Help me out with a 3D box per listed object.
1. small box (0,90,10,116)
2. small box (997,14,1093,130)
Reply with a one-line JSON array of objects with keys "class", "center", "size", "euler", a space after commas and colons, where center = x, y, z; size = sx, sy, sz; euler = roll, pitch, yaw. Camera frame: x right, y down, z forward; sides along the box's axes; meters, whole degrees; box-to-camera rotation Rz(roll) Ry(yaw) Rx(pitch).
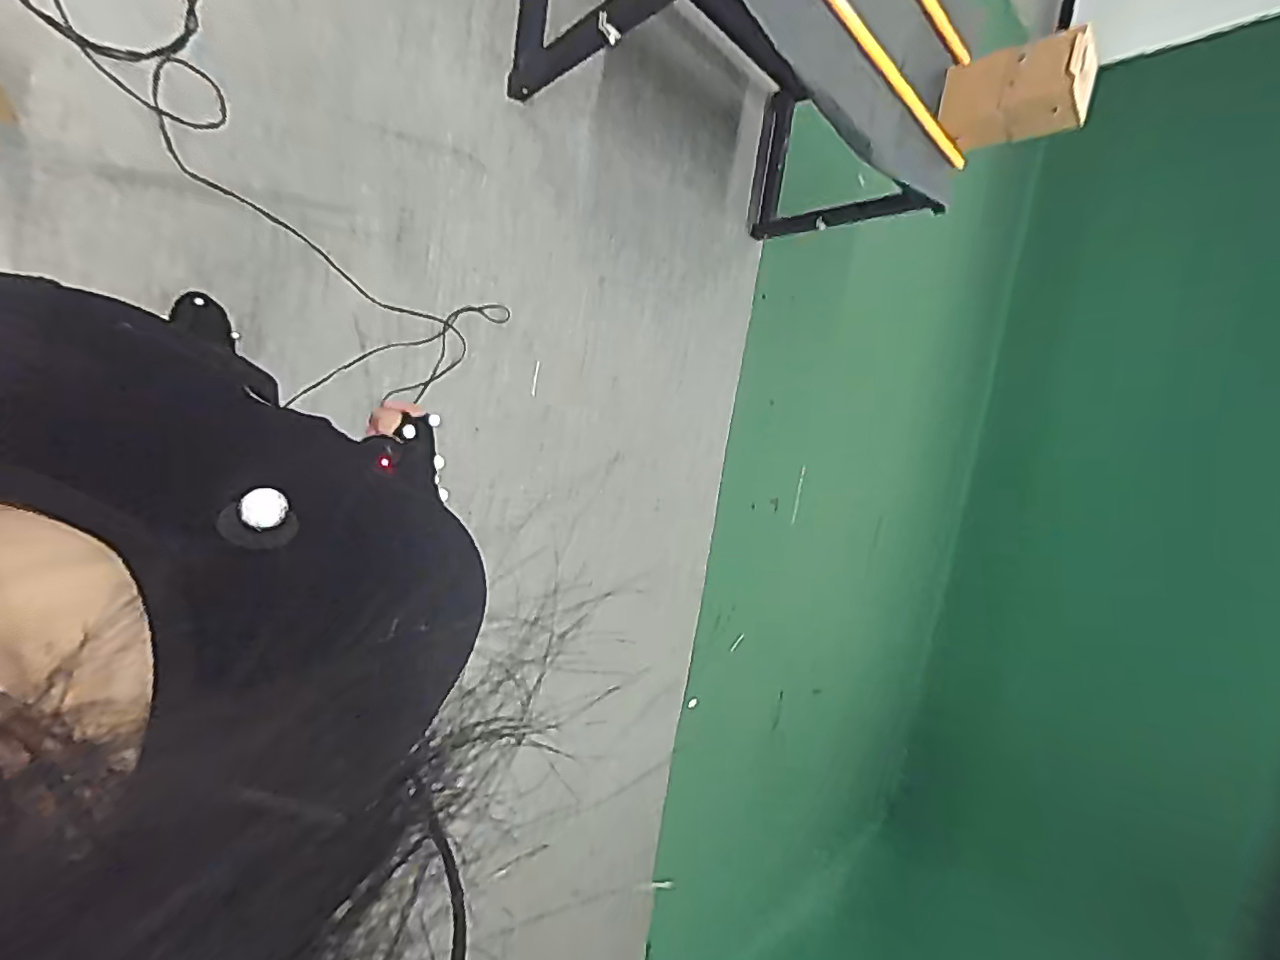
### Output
[{"class": "small box", "center": [-1.110, -0.646, 0.798], "size": [0.168, 0.176, 0.179], "euler": [-38, 123, -30]}, {"class": "small box", "center": [1.109, -1.103, 1.484], "size": [0.179, 0.176, 0.168], "euler": [10, 94, -43]}]
